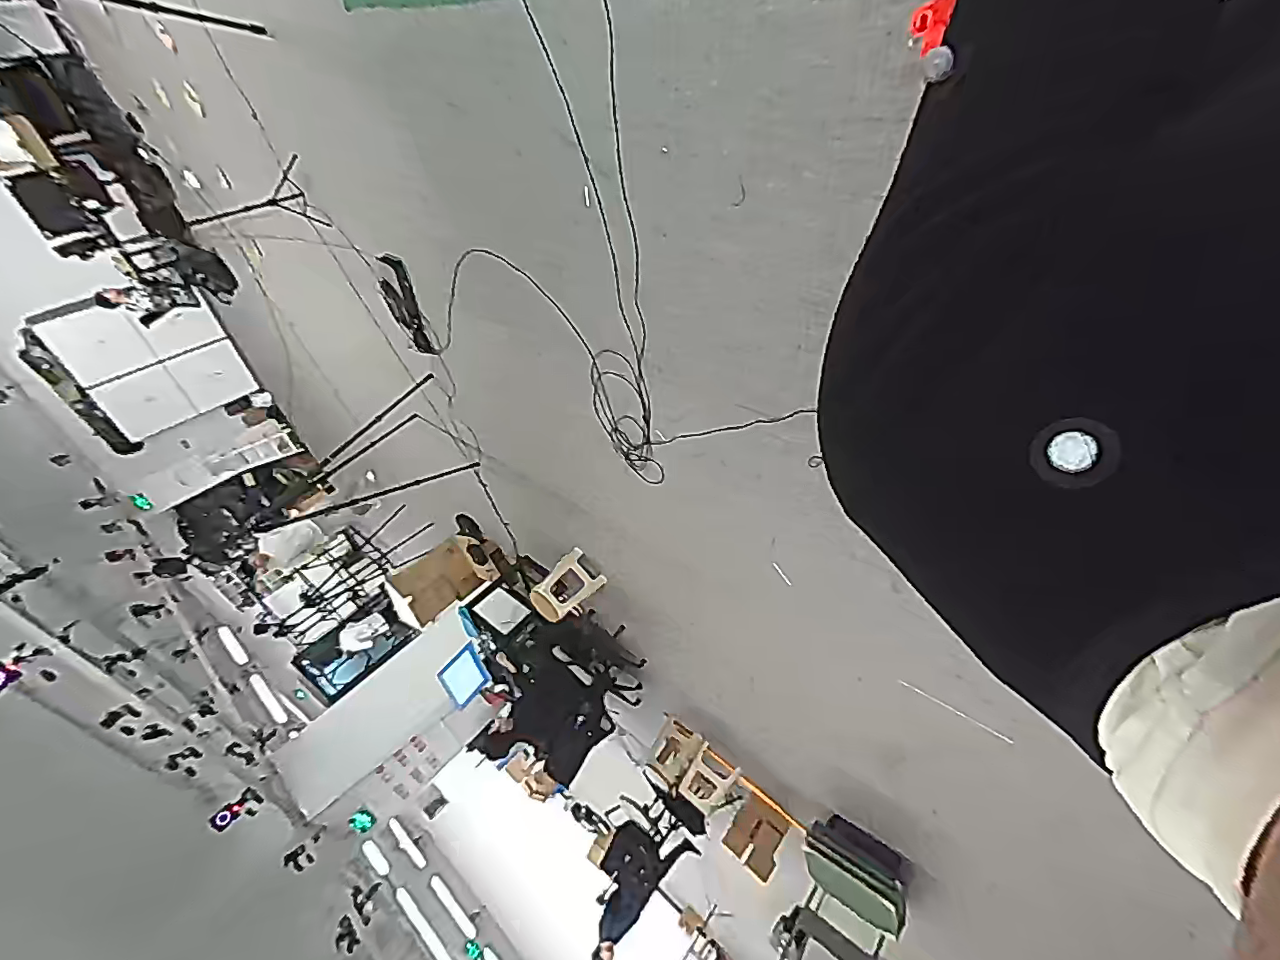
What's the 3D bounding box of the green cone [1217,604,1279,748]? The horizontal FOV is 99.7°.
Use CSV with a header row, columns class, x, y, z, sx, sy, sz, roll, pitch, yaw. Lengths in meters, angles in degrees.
class,x,y,z,sx,sy,sz,roll,pitch,yaw
green cone,1.576,0.514,1.308,0.200,0.368,0.202,30,141,27
